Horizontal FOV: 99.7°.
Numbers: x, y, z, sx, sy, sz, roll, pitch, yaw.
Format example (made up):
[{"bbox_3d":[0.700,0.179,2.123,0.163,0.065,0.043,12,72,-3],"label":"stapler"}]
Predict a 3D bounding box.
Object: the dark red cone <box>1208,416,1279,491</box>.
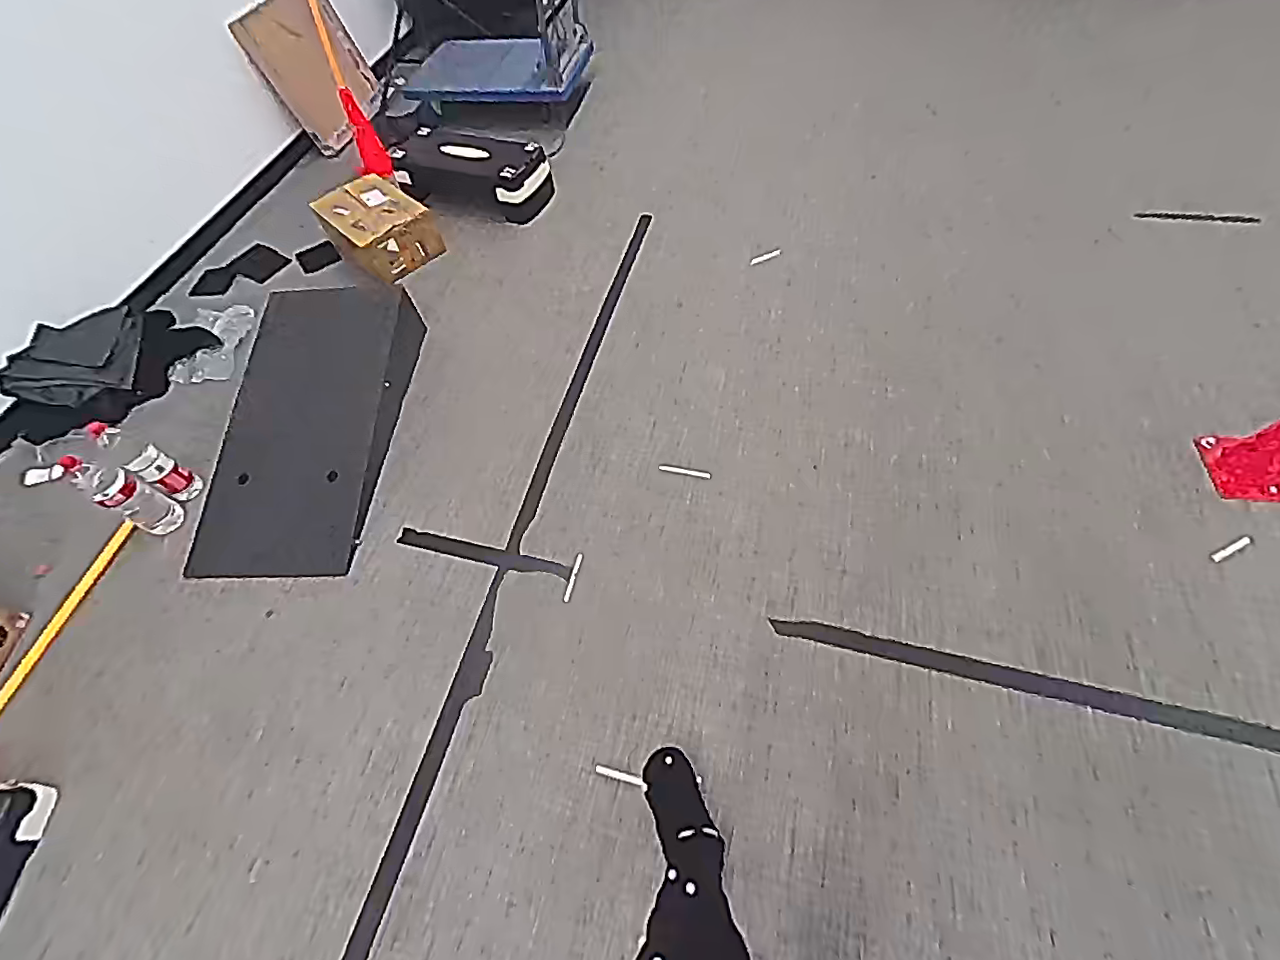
[{"bbox_3d":[1.581,-0.142,1.246,0.202,0.394,0.201,3,59,8],"label":"dark red cone"}]
